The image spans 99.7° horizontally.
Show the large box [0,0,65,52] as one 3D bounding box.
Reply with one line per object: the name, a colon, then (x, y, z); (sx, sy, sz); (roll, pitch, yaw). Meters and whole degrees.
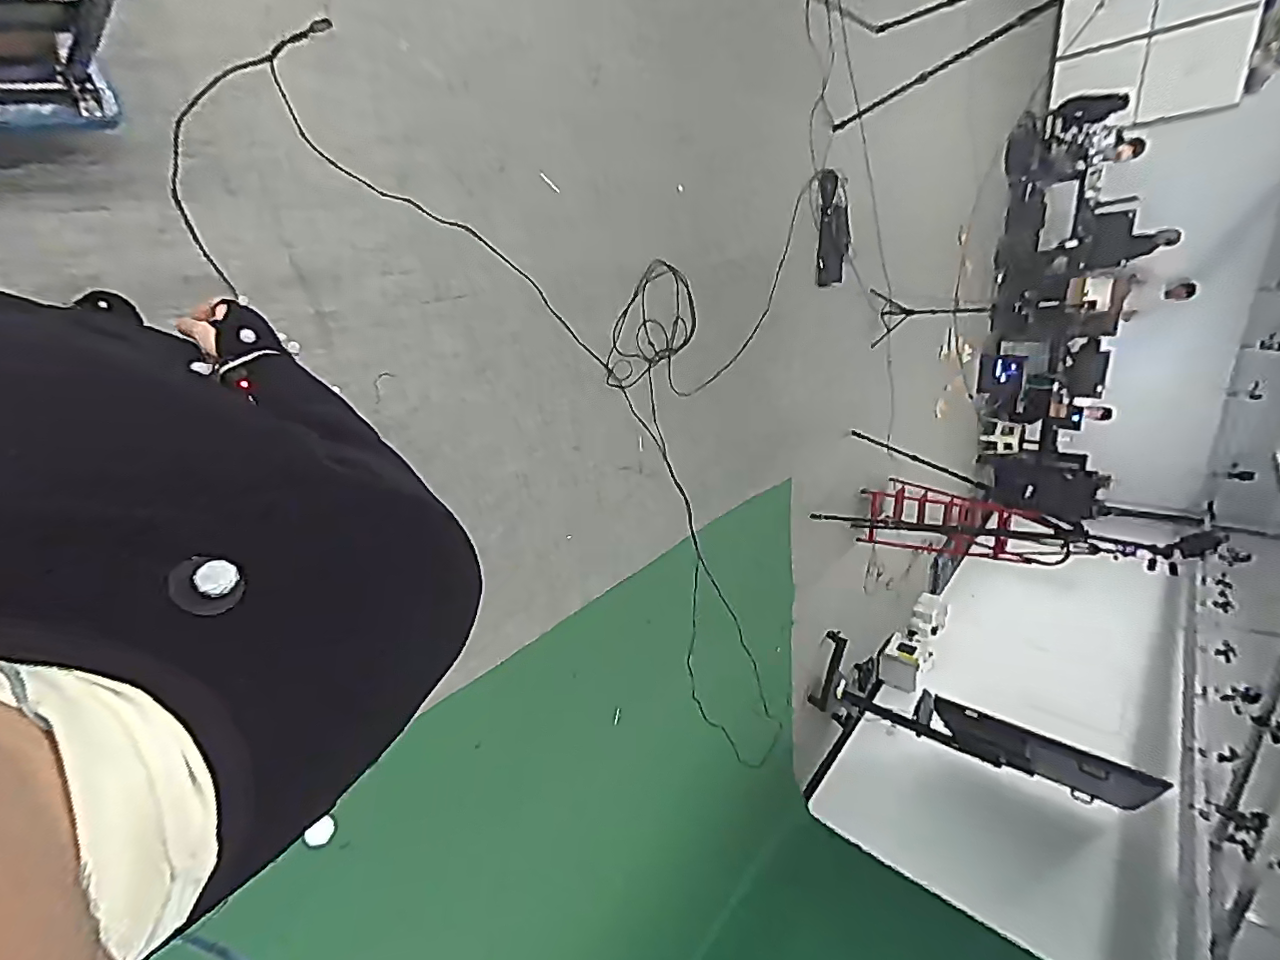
large box: (-1.046, -0.828, 0.676); (0.320, 0.320, 0.408); (-35, 124, -37)
